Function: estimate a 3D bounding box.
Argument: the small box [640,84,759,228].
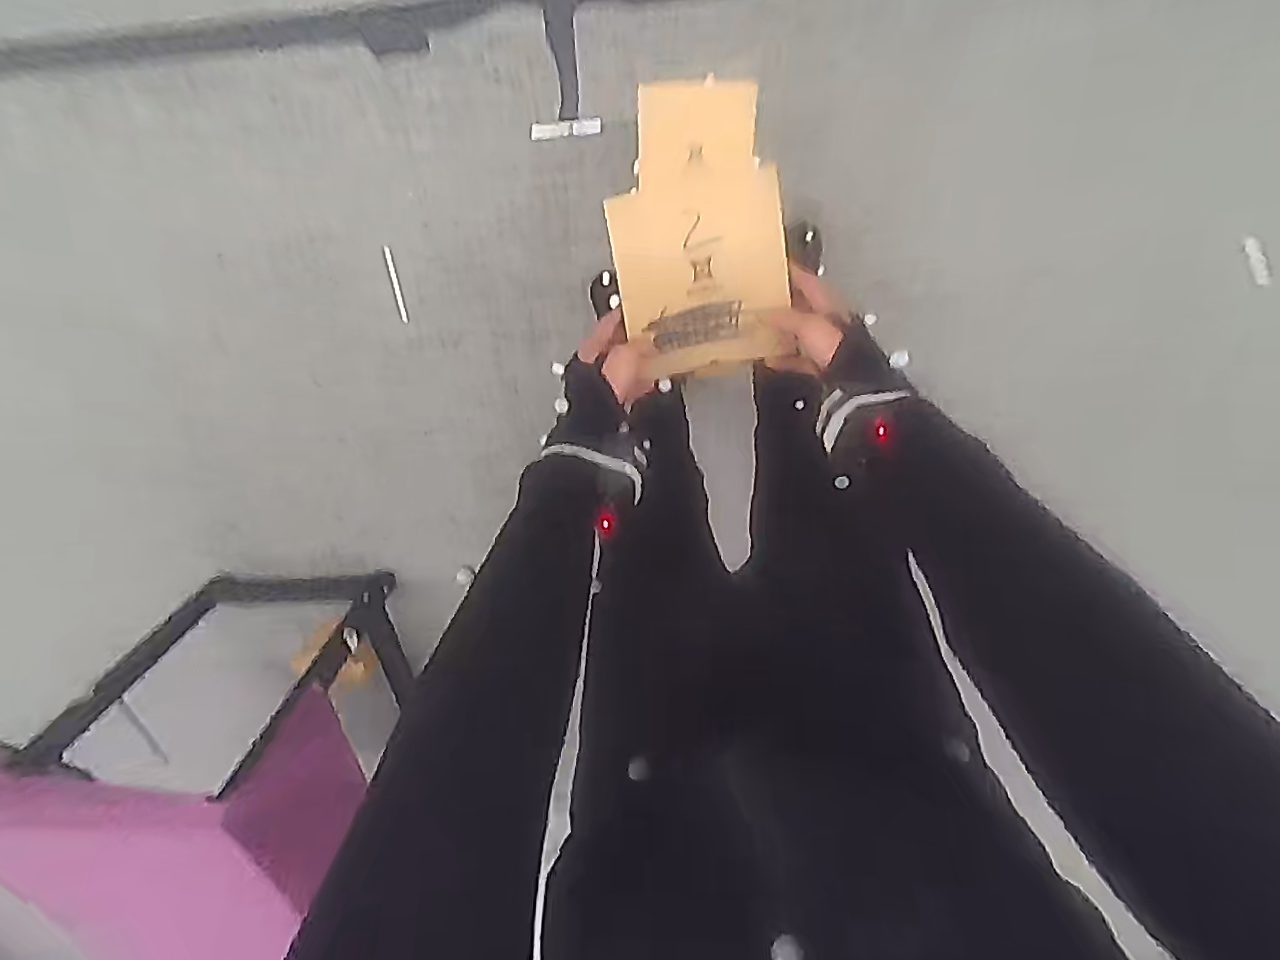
[{"bbox_3d":[0.083,-0.497,0.841,0.168,0.176,0.179,0,121,2],"label":"small box"}]
